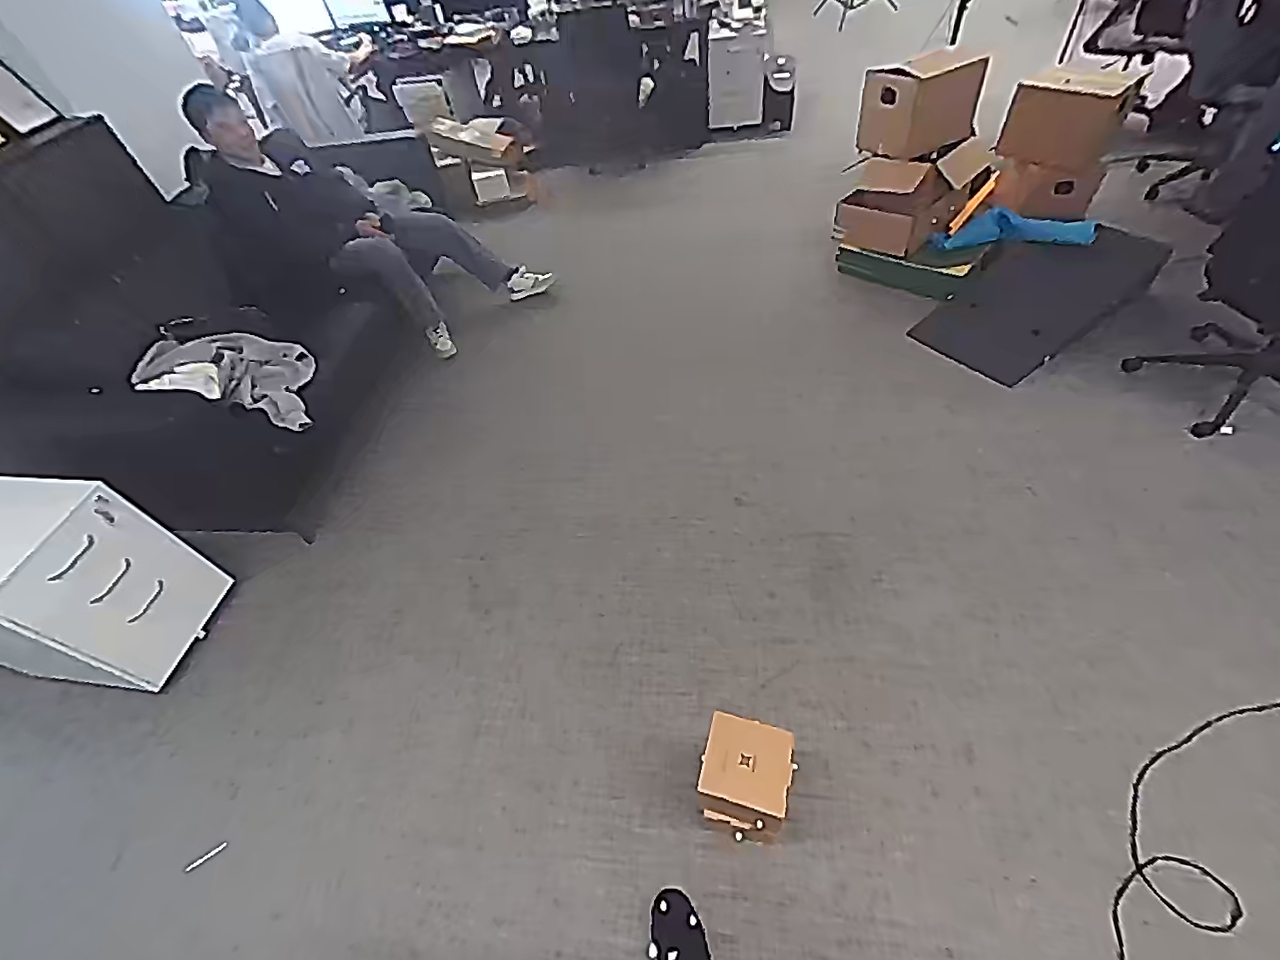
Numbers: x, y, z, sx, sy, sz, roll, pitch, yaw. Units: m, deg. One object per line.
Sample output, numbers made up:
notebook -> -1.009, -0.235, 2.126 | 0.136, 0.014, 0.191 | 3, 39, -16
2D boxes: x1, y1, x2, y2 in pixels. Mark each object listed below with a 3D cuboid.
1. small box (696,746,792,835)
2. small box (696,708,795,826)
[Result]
small box -> 0.251, 0.725, 1.300 | 0.179, 0.176, 0.168 | -19, 47, -4
small box -> 0.232, 0.630, 1.179 | 0.179, 0.176, 0.168 | 9, 50, 19
